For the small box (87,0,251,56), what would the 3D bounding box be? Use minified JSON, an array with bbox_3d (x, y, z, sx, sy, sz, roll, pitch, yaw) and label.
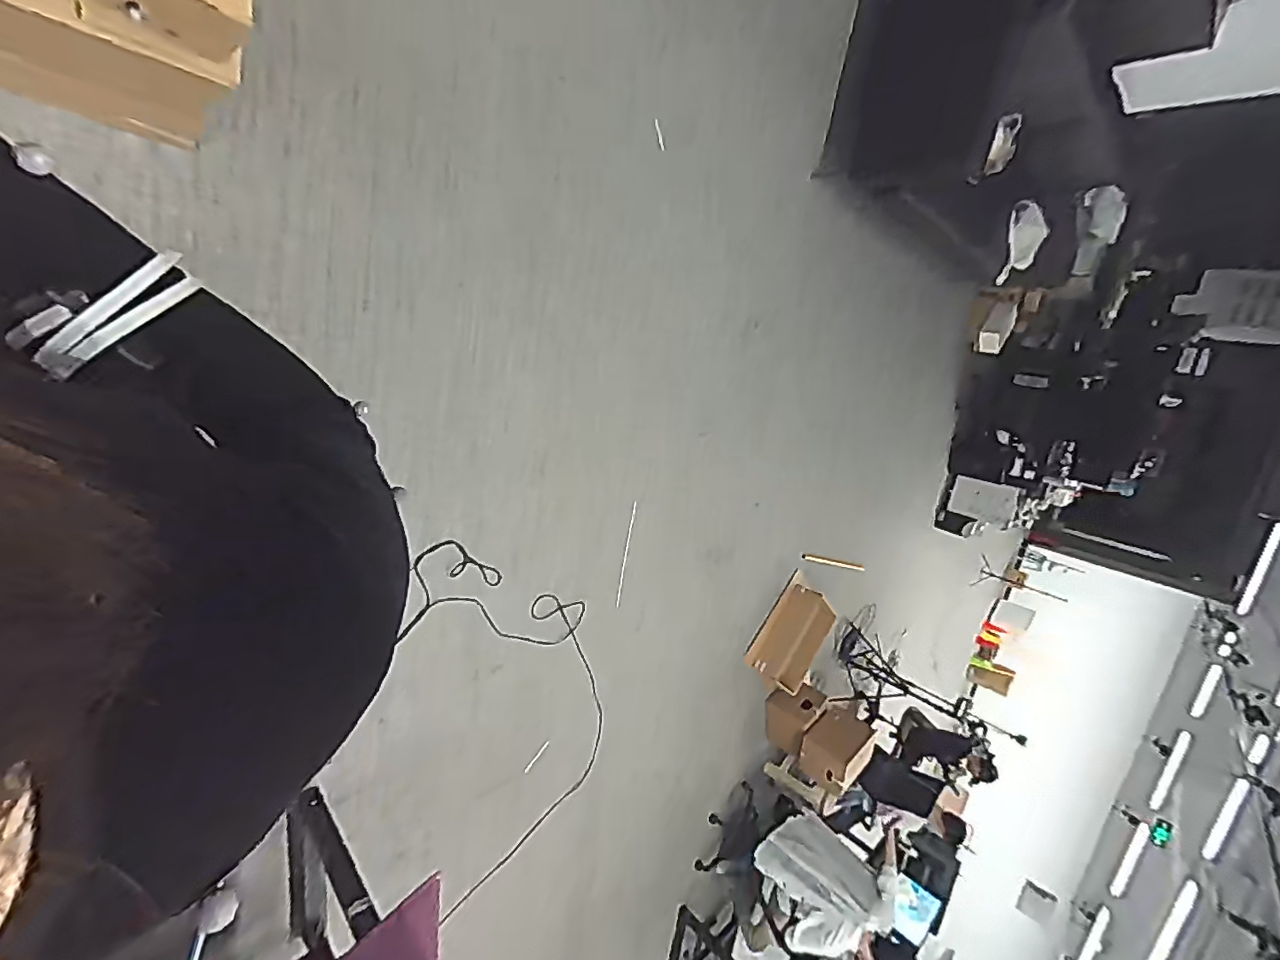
[{"bbox_3d":[-0.543,-0.623,0.598,0.168,0.176,0.179,0,107,-46],"label":"small box"}]
